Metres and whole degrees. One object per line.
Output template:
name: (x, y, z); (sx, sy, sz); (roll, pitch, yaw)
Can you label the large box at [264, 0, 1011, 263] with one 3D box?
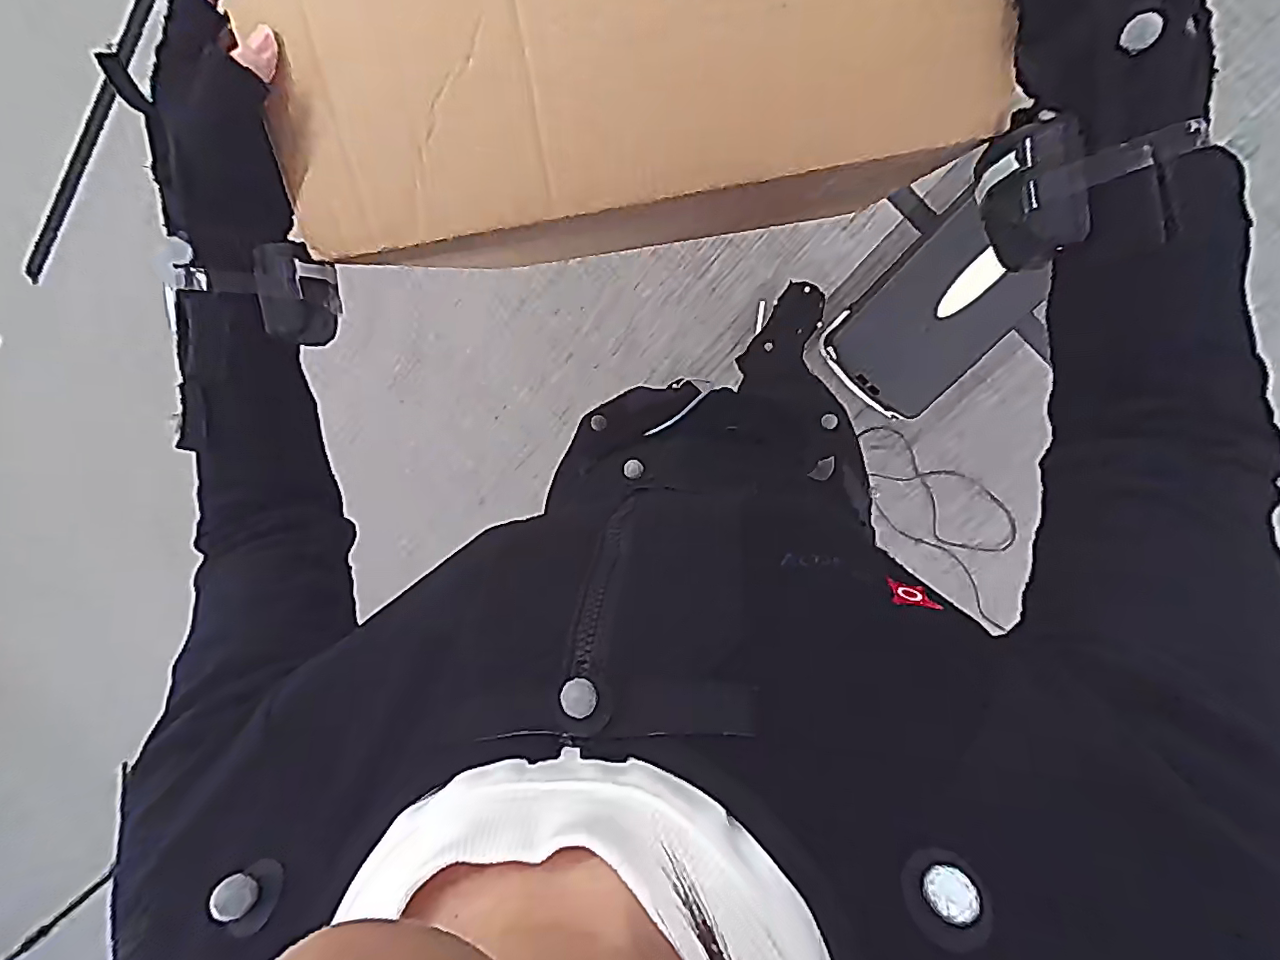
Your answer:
large box: (-0.006, -0.364, 0.410); (0.408, 0.320, 0.320); (-5, 110, 10)
